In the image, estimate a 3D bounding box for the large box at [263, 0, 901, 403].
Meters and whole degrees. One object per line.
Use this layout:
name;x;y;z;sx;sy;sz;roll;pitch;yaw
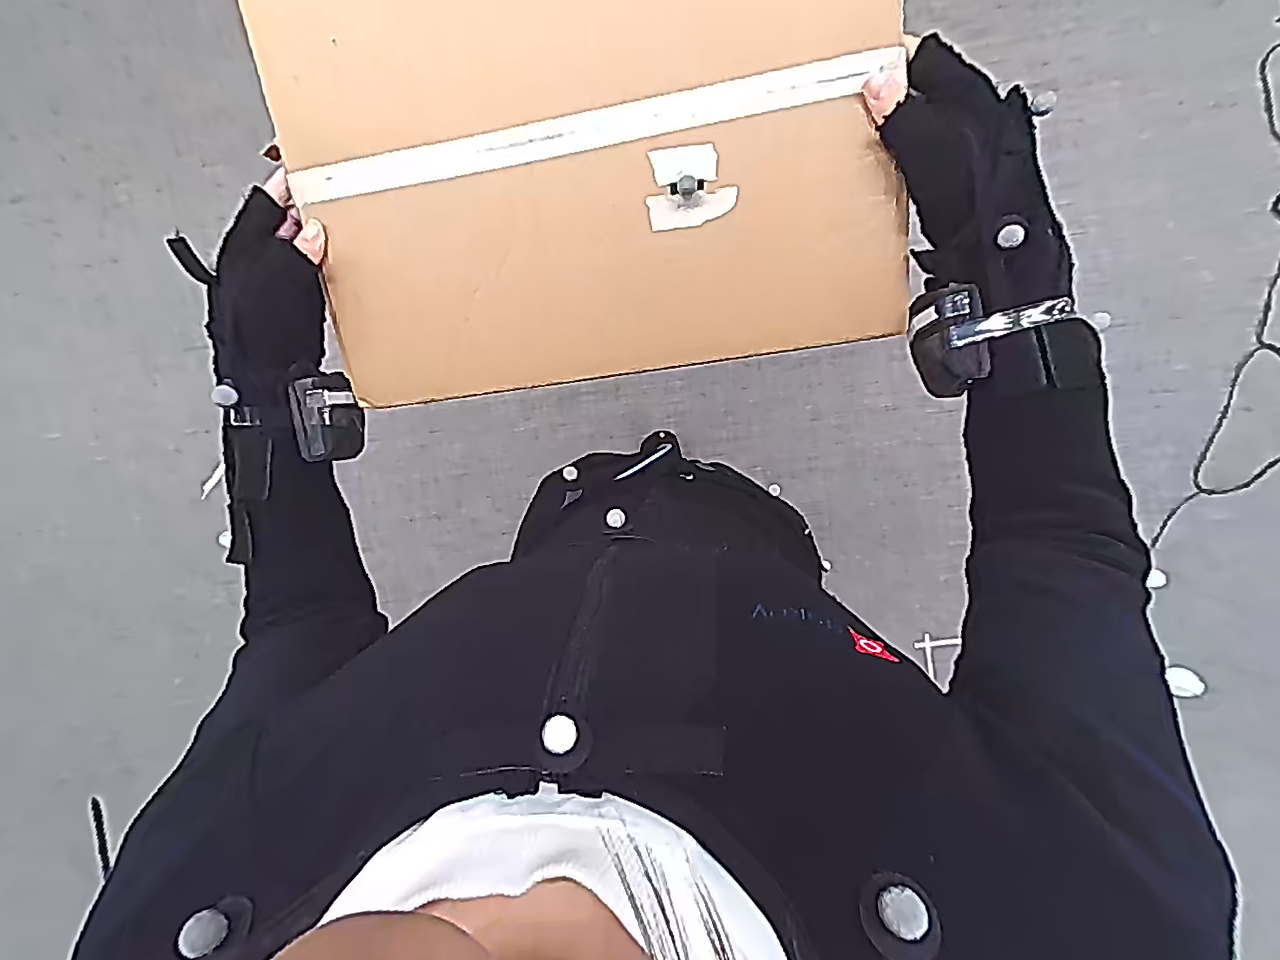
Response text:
large box;-0.026;-0.273;0.507;0.408;0.320;0.320;-8;106;6
